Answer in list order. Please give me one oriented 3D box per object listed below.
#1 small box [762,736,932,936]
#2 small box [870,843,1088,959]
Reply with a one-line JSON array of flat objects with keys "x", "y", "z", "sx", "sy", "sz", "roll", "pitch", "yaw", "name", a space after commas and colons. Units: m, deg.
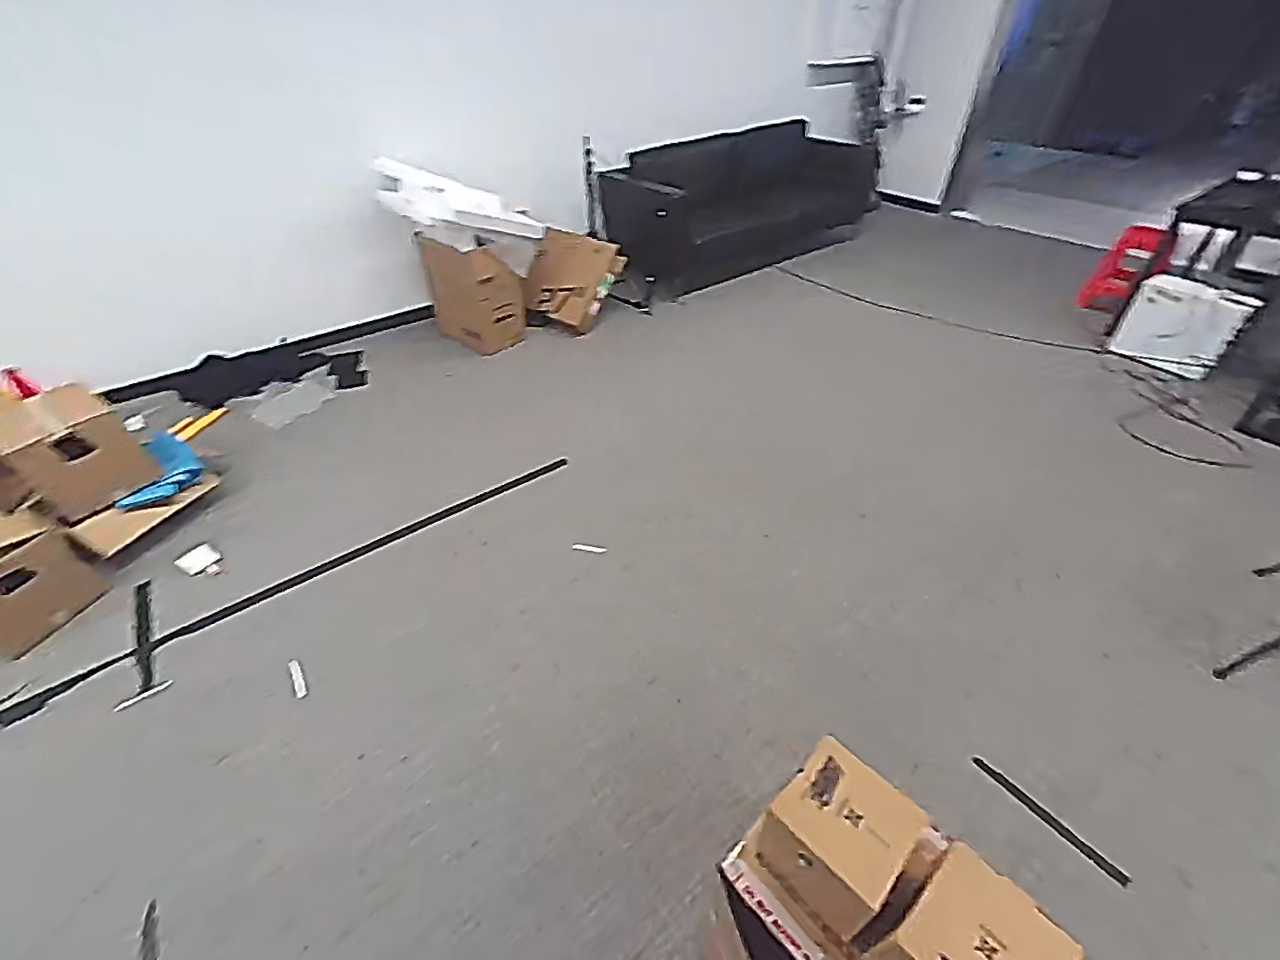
[{"x": 0.310, "y": 0.552, "z": 0.843, "sx": 0.168, "sy": 0.176, "sz": 0.179, "roll": -31, "pitch": 47, "yaw": -32, "name": "small box"}, {"x": 0.442, "y": 0.647, "z": 0.729, "sx": 0.179, "sy": 0.176, "sz": 0.168, "roll": -28, "pitch": 48, "yaw": -30, "name": "small box"}]
